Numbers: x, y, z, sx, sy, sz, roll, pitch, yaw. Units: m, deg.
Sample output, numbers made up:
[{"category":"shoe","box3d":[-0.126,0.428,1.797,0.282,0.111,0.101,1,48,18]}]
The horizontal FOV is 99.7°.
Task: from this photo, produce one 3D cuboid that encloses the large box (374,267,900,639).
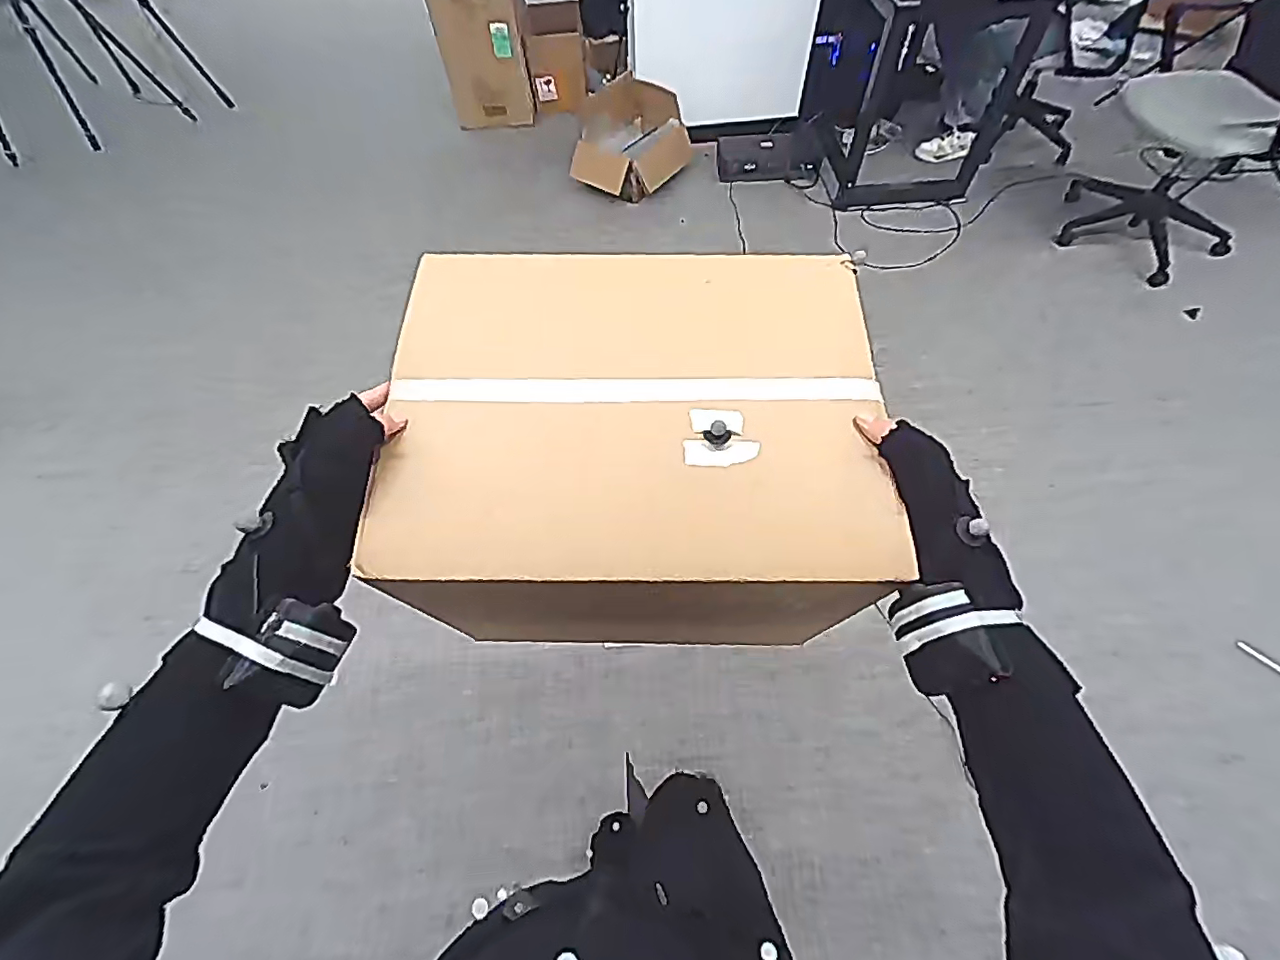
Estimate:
[{"category":"large box","box3d":[-0.004,-0.007,0.600,0.408,0.320,0.320,0,65,0]}]
